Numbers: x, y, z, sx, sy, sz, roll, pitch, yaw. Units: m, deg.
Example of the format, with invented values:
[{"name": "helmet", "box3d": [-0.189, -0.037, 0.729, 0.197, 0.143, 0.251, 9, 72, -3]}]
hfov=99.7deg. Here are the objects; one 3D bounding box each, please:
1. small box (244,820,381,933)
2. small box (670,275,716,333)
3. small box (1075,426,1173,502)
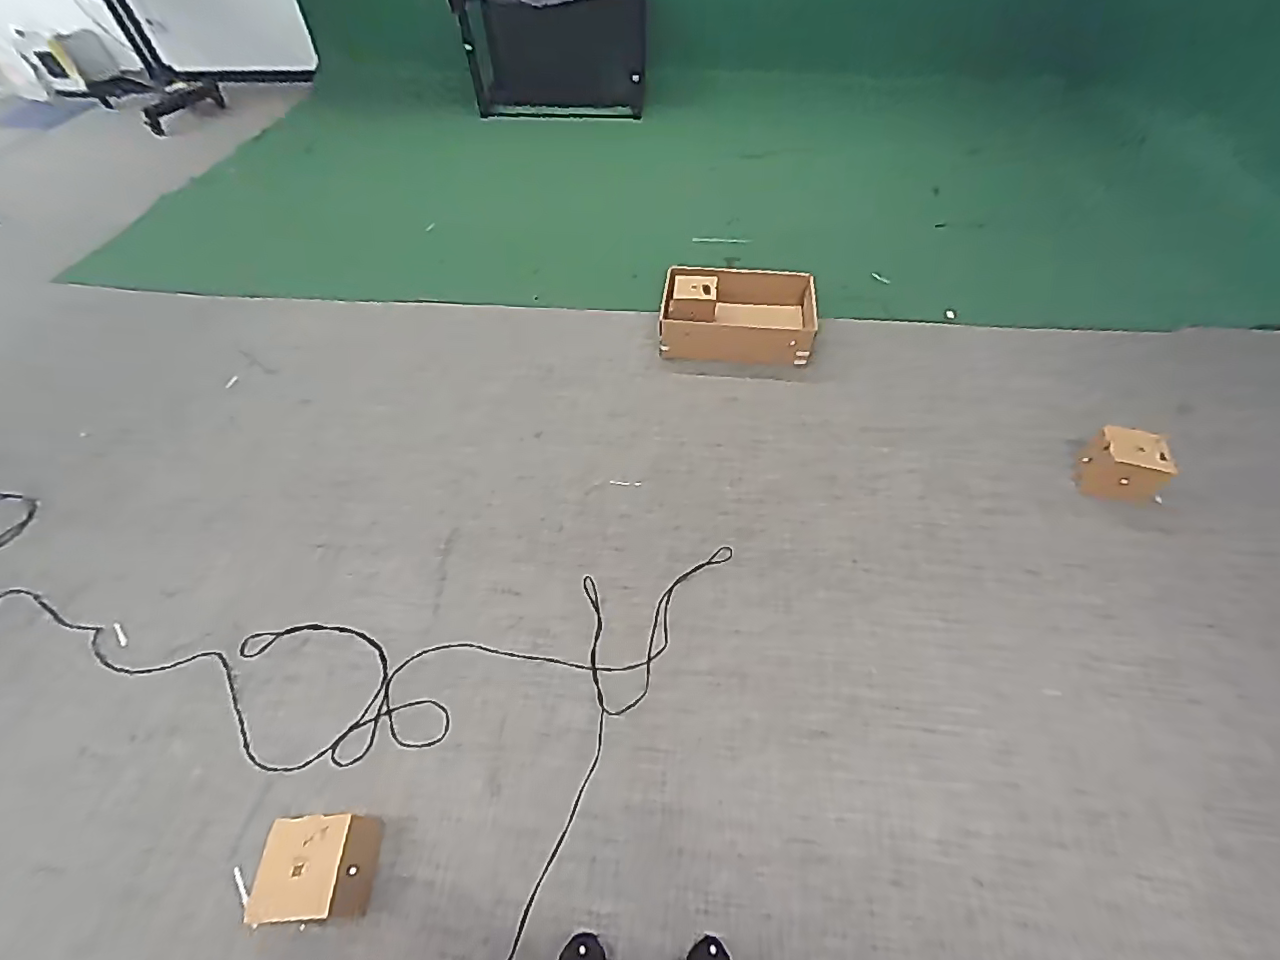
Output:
[{"name": "small box", "box3d": [-0.672, 0.831, 1.136, 0.168, 0.176, 0.179, -4, 51, -1]}, {"name": "small box", "box3d": [0.222, -0.735, 2.263, 0.179, 0.176, 0.168, 4, 53, 5]}, {"name": "small box", "box3d": [1.559, -0.049, 1.760, 0.179, 0.176, 0.168, 13, 54, 12]}]
